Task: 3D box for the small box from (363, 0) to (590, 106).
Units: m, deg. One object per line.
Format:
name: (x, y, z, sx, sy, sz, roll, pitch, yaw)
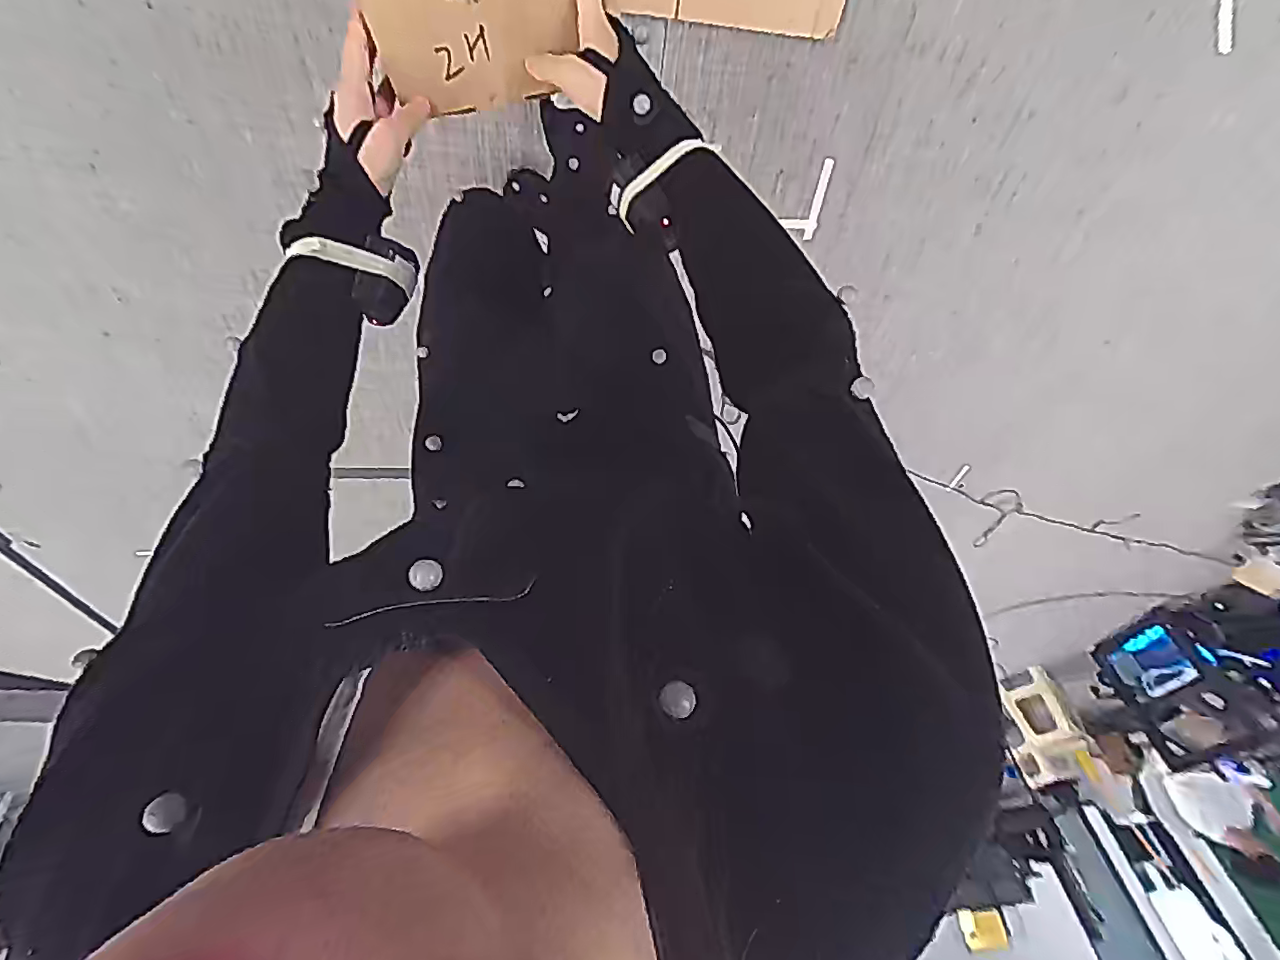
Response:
small box: (-0.145, -0.448, 0.446, 0.168, 0.176, 0.179, -11, 142, 0)
